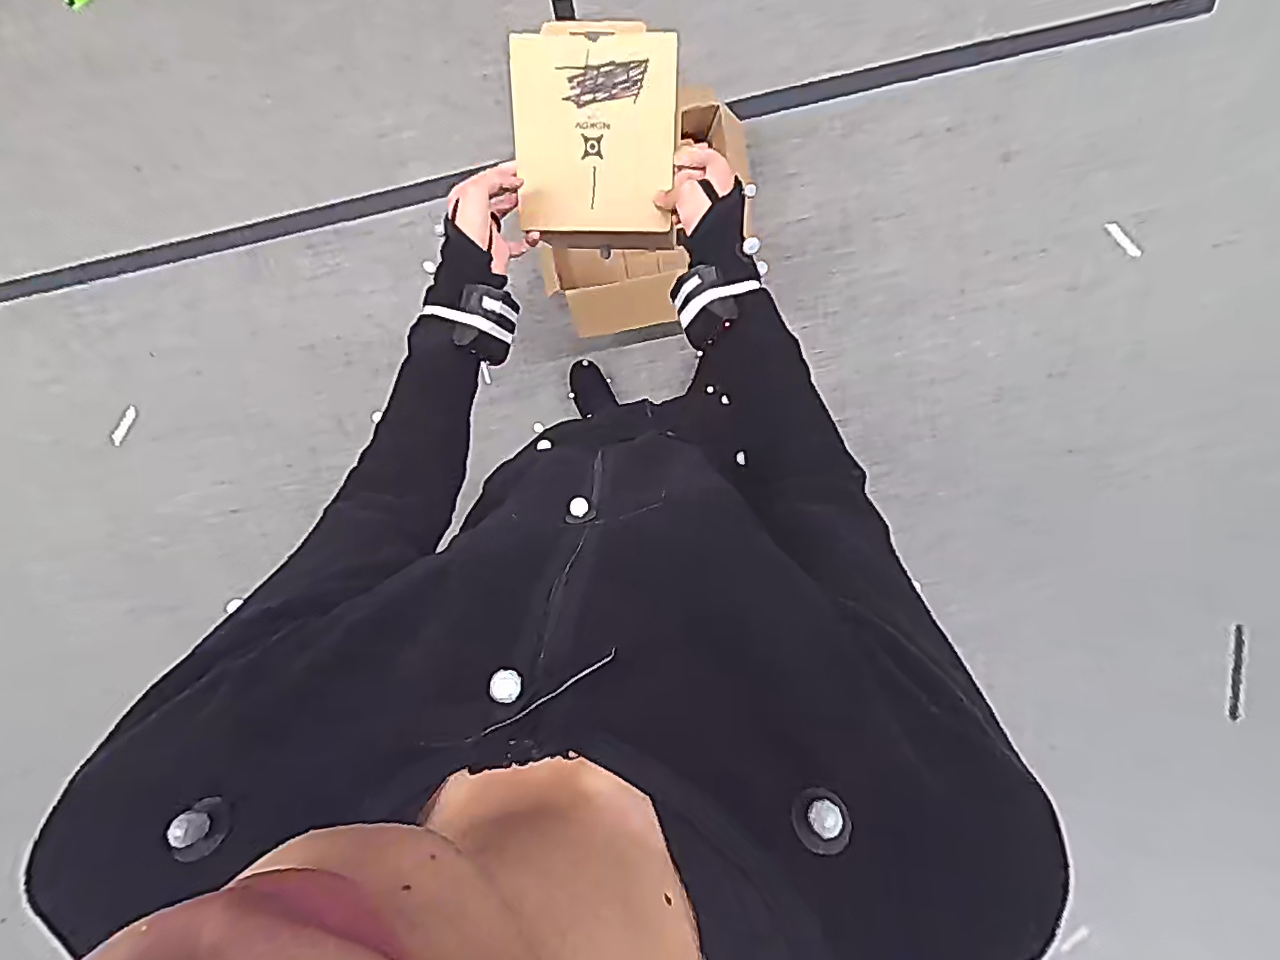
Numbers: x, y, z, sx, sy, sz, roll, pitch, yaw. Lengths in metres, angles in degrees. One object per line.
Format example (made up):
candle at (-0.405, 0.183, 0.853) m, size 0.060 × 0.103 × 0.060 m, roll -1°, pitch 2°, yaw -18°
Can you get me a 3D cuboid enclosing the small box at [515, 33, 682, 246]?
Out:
small box at (-0.038, -0.377, 0.630) m, size 0.168 × 0.176 × 0.179 m, roll 2°, pitch 109°, yaw 5°
